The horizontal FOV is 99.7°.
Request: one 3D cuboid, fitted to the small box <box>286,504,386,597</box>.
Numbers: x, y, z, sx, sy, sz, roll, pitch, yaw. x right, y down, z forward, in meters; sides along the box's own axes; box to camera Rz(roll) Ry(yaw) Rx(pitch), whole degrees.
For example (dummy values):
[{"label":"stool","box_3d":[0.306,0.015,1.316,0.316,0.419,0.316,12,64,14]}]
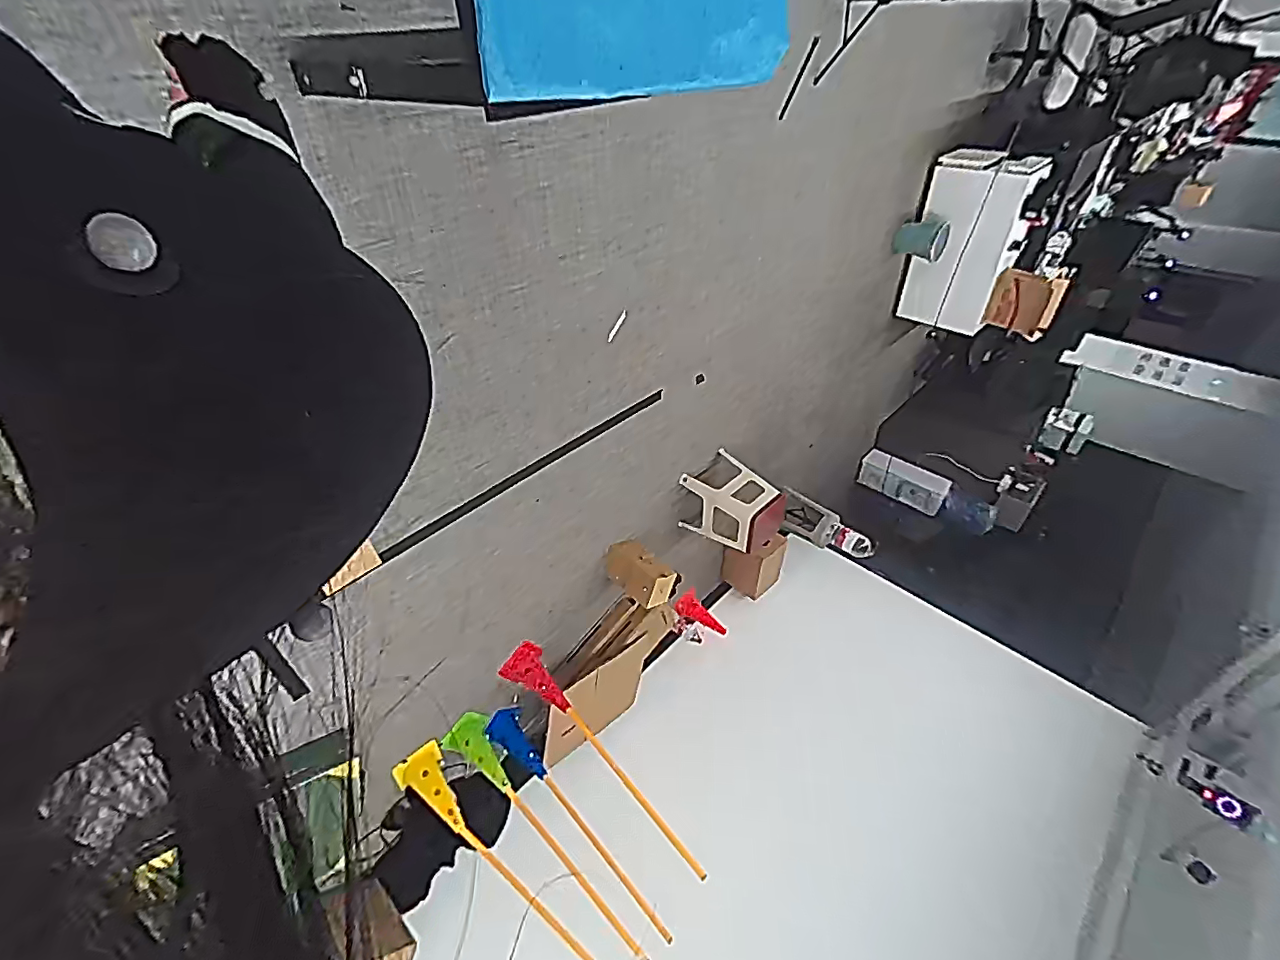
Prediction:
[{"label":"small box","box_3d":[-0.871,0.191,1.549,0.168,0.176,0.179,-35,141,-31]}]
